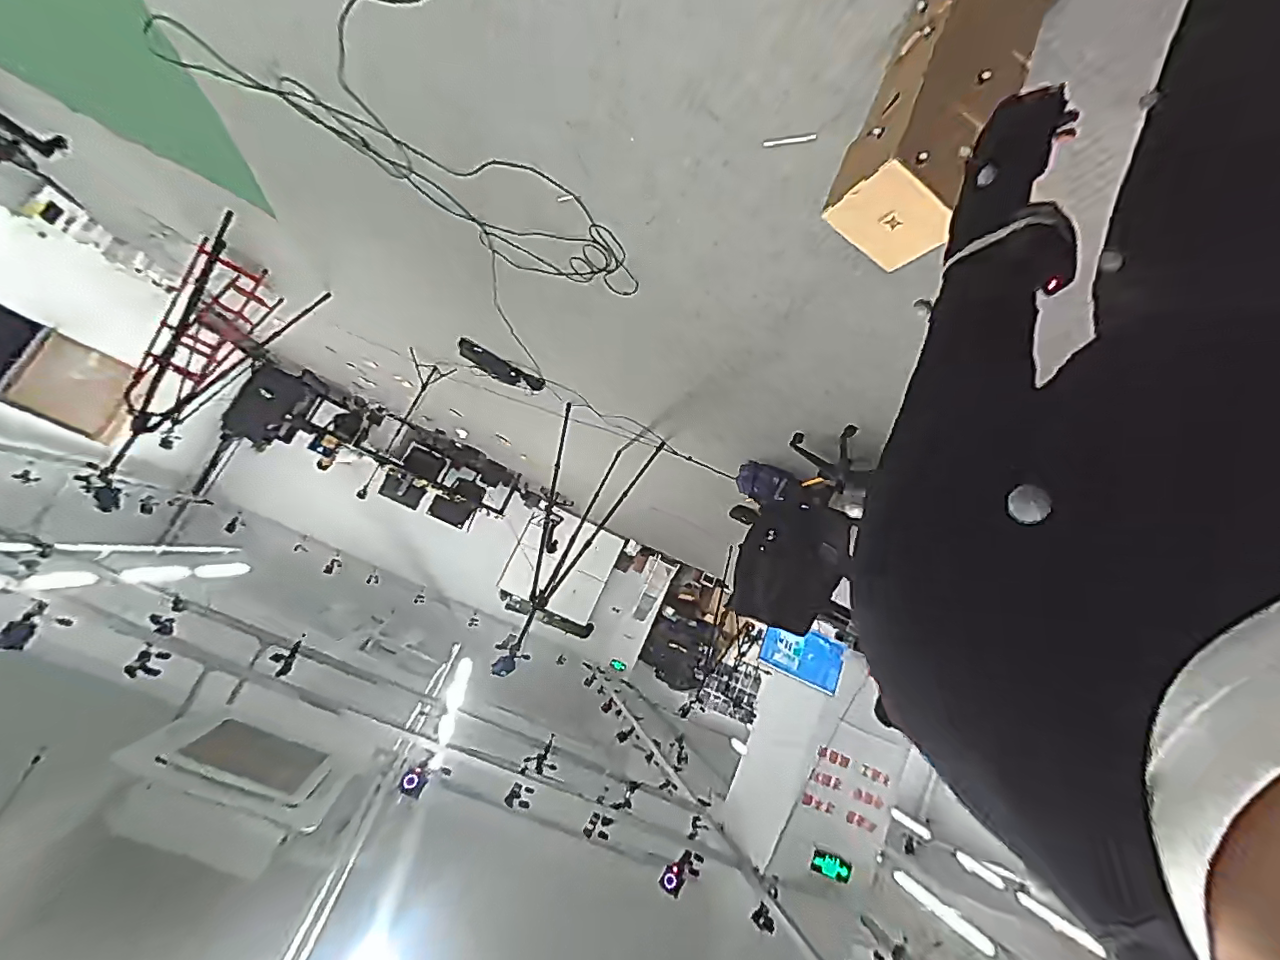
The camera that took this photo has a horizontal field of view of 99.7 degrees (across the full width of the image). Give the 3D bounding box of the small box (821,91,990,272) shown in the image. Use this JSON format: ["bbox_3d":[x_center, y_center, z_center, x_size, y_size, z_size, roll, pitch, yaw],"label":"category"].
[{"bbox_3d":[0.452,-0.501,0.920,0.179,0.176,0.168,29,166,-17],"label":"small box"}]

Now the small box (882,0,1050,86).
[{"bbox_3d":[0.586,-0.795,0.980,0.179,0.176,0.168,28,170,-9],"label":"small box"}]

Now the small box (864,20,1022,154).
[{"bbox_3d":[0.521,-0.645,0.949,0.179,0.176,0.168,27,167,-13],"label":"small box"}]
